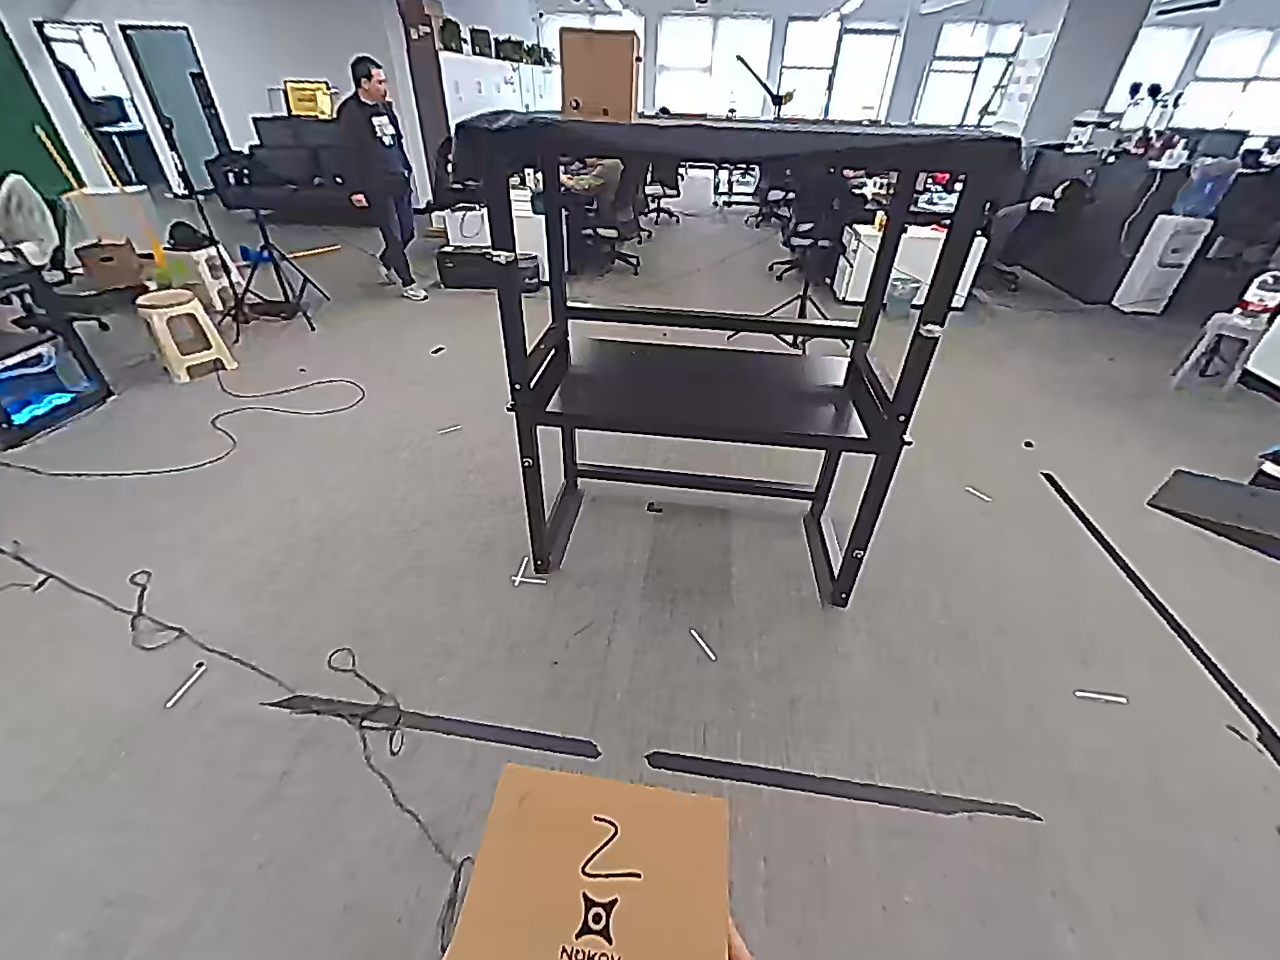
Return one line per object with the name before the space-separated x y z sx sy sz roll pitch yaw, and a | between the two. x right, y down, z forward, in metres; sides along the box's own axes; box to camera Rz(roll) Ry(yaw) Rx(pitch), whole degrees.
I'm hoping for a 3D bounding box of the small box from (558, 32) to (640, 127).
small box | -0.090 -0.930 1.266 0.168 0.176 0.179 5 34 2
